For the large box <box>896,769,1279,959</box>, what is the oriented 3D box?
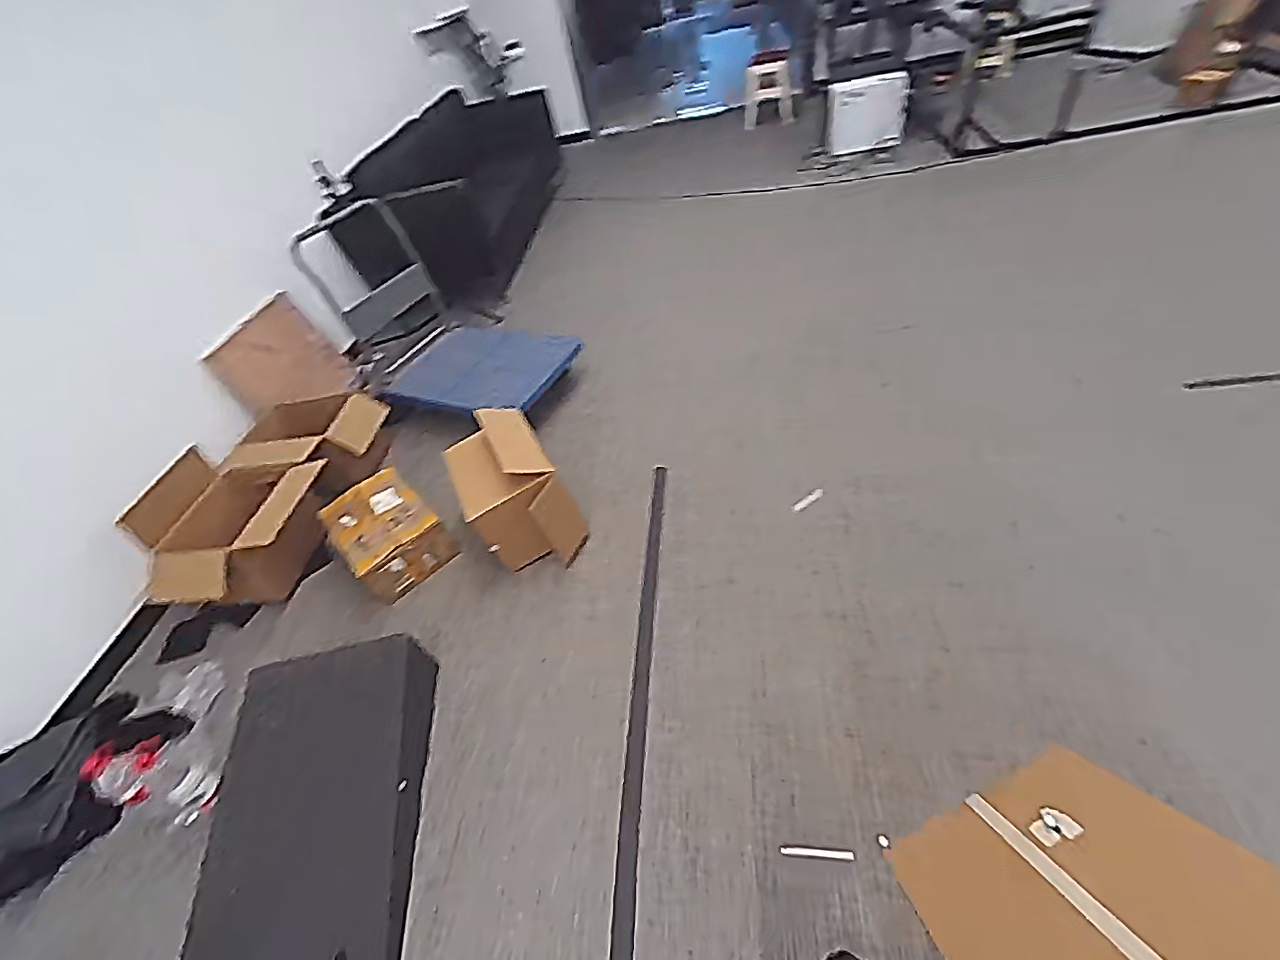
[{"bbox_3d":[0.565,0.603,0.582,0.320,0.408,0.320,-30,80,2],"label":"large box"}]
